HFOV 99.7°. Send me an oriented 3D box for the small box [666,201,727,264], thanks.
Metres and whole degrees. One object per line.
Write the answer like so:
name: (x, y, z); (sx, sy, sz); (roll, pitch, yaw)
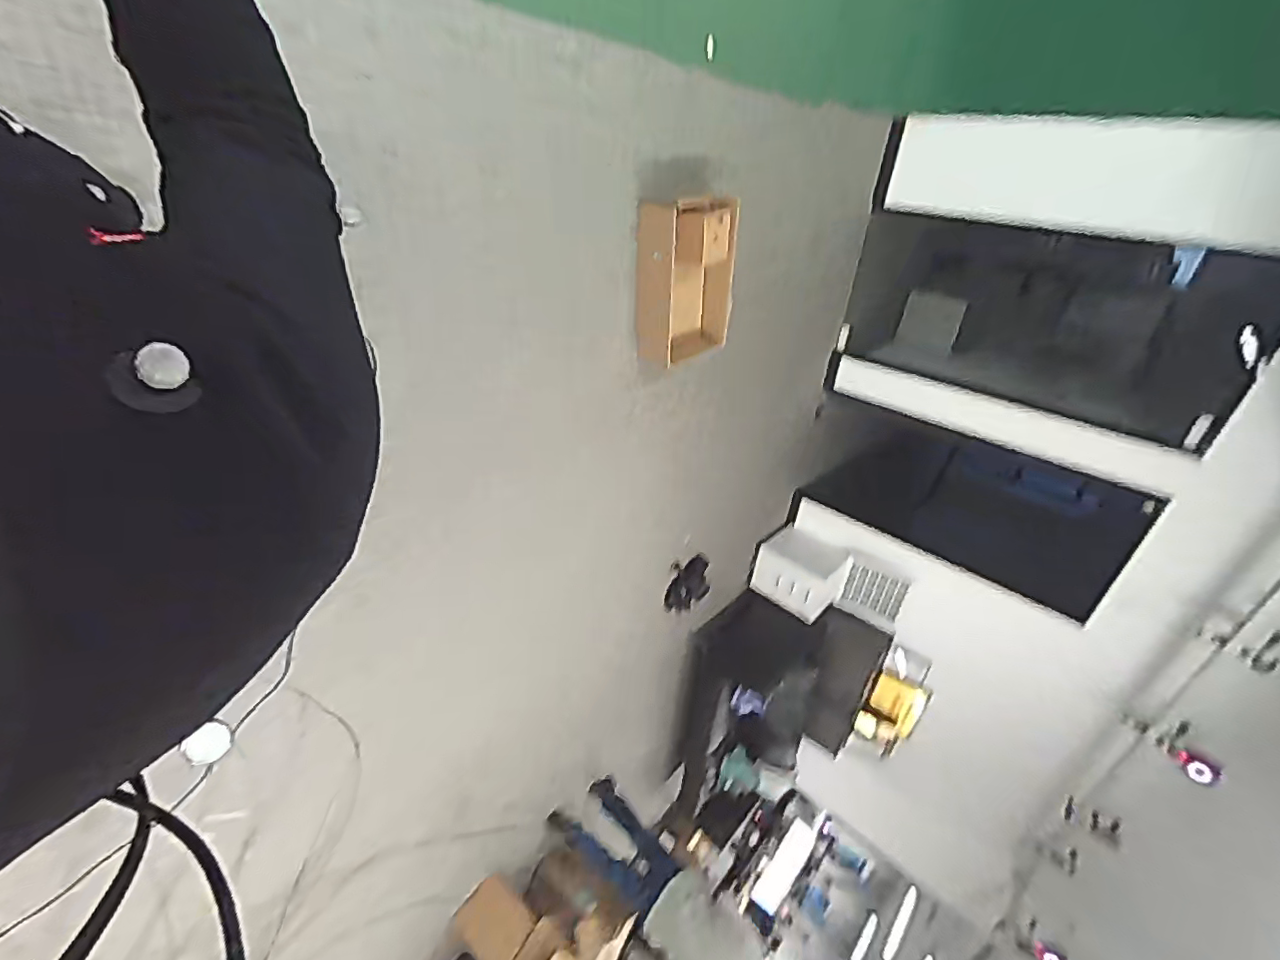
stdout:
small box: (0.212, -0.956, 2.081); (0.168, 0.176, 0.179); (-35, 140, -36)
